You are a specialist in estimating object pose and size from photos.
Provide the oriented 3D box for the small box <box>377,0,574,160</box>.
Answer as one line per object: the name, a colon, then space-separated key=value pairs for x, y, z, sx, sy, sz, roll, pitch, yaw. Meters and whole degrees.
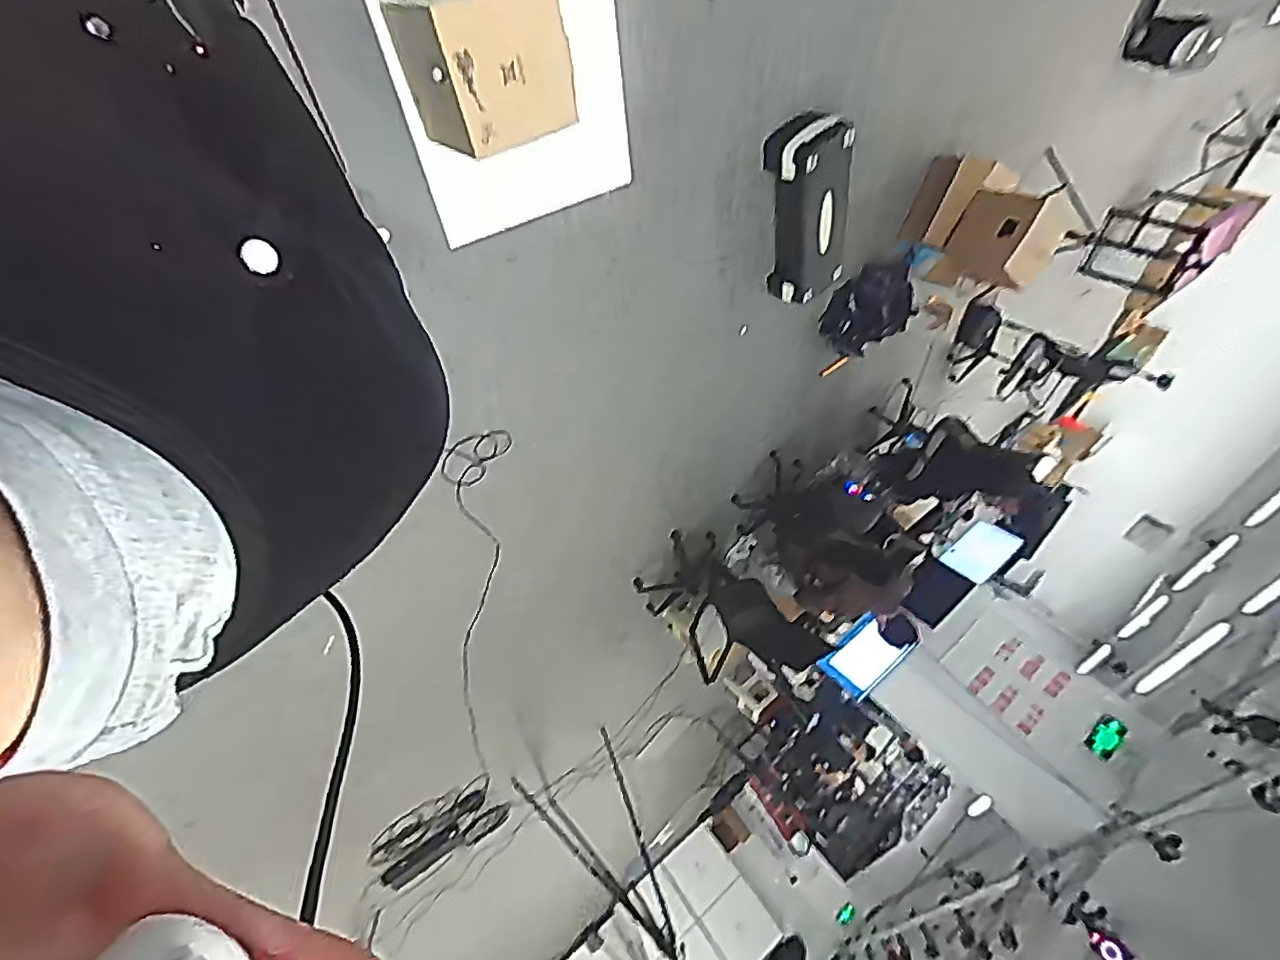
small box: x=-0.222 y=-0.574 z=0.748 sx=0.179 sy=0.176 sz=0.168 roll=-37 pitch=142 yaw=-21
